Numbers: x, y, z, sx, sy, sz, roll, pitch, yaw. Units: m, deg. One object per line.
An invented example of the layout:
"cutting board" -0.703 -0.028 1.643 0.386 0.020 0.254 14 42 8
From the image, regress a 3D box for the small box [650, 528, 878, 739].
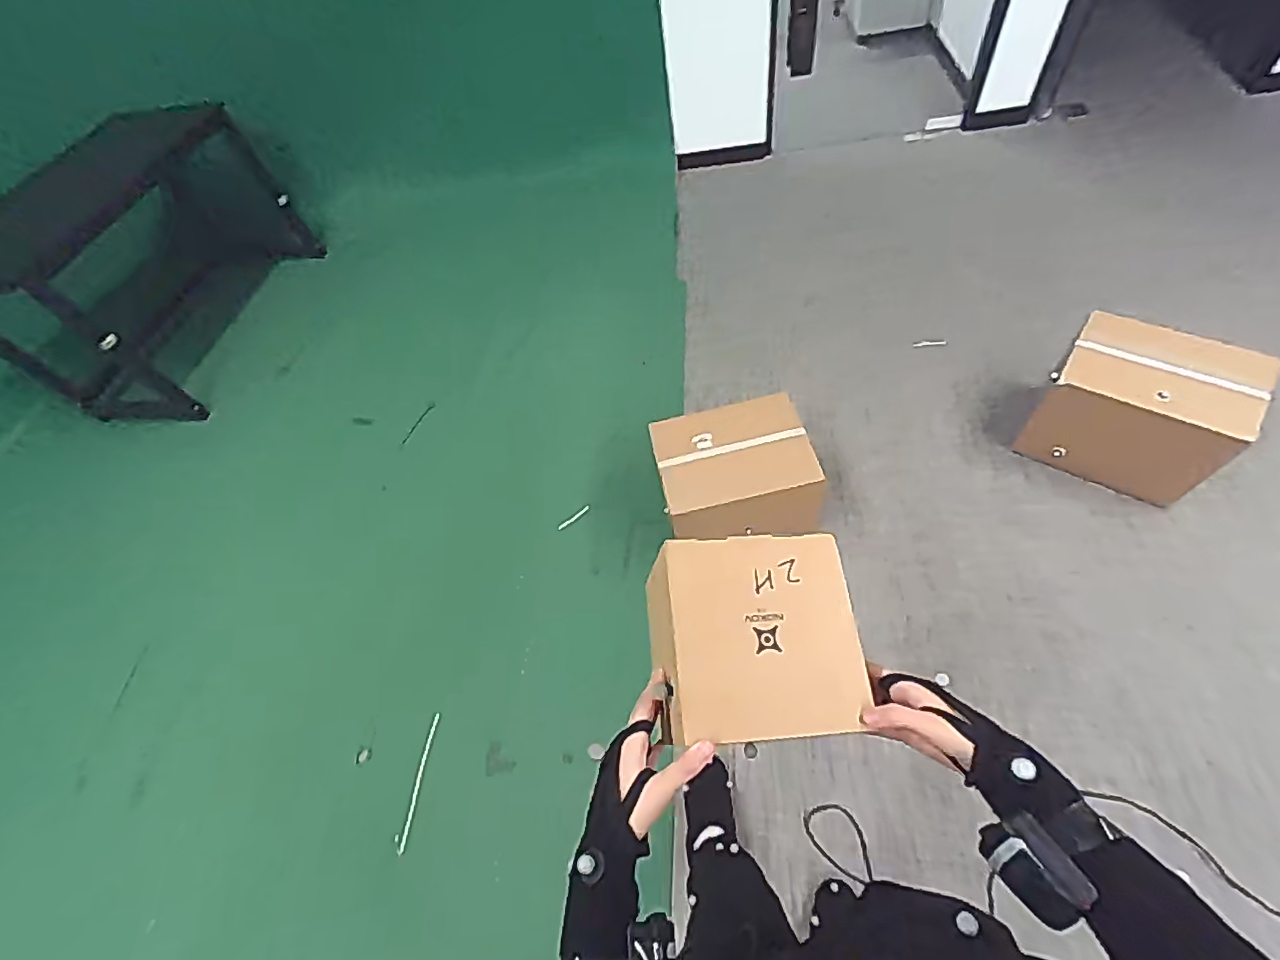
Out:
"small box" 0.104 0.158 0.541 0.168 0.176 0.179 0 64 -7

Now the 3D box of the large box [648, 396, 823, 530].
"large box" 0.266 0.014 1.559 0.408 0.320 0.320 -14 54 2
